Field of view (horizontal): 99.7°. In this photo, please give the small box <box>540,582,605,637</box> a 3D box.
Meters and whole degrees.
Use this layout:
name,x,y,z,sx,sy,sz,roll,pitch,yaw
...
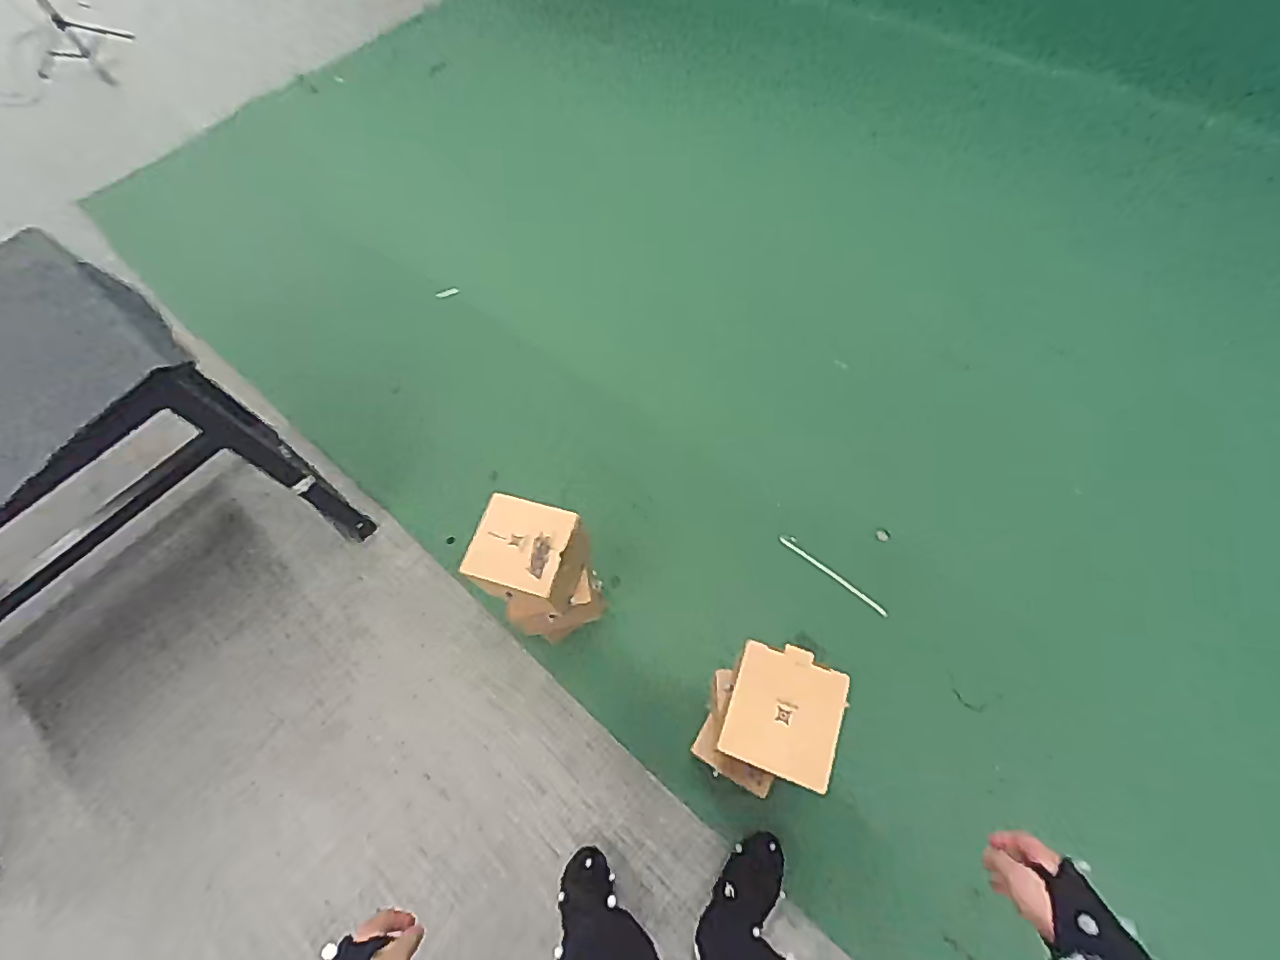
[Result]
name,x,y,z,sx,sy,sz,roll,pitch,yaw
small box,-0.204,0.271,1.350,0.179,0.176,0.168,-31,67,-11

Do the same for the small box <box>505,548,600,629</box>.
name,x,y,z,sx,sy,sz,roll,pitch,yaw
small box,-0.194,0.221,1.193,0.179,0.176,0.168,-12,65,-2

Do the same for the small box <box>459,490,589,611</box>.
name,x,y,z,sx,sy,sz,roll,pitch,yaw
small box,-0.212,0.144,1.048,0.179,0.176,0.168,14,67,12

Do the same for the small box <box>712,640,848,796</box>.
name,x,y,z,sx,sy,sz,roll,pitch,yaw
small box,0.222,0.391,0.894,0.168,0.176,0.179,18,66,12

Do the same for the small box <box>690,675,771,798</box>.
name,x,y,z,sx,sy,sz,roll,pitch,yaw
small box,0.217,0.555,1.179,0.168,0.176,0.179,28,68,16
